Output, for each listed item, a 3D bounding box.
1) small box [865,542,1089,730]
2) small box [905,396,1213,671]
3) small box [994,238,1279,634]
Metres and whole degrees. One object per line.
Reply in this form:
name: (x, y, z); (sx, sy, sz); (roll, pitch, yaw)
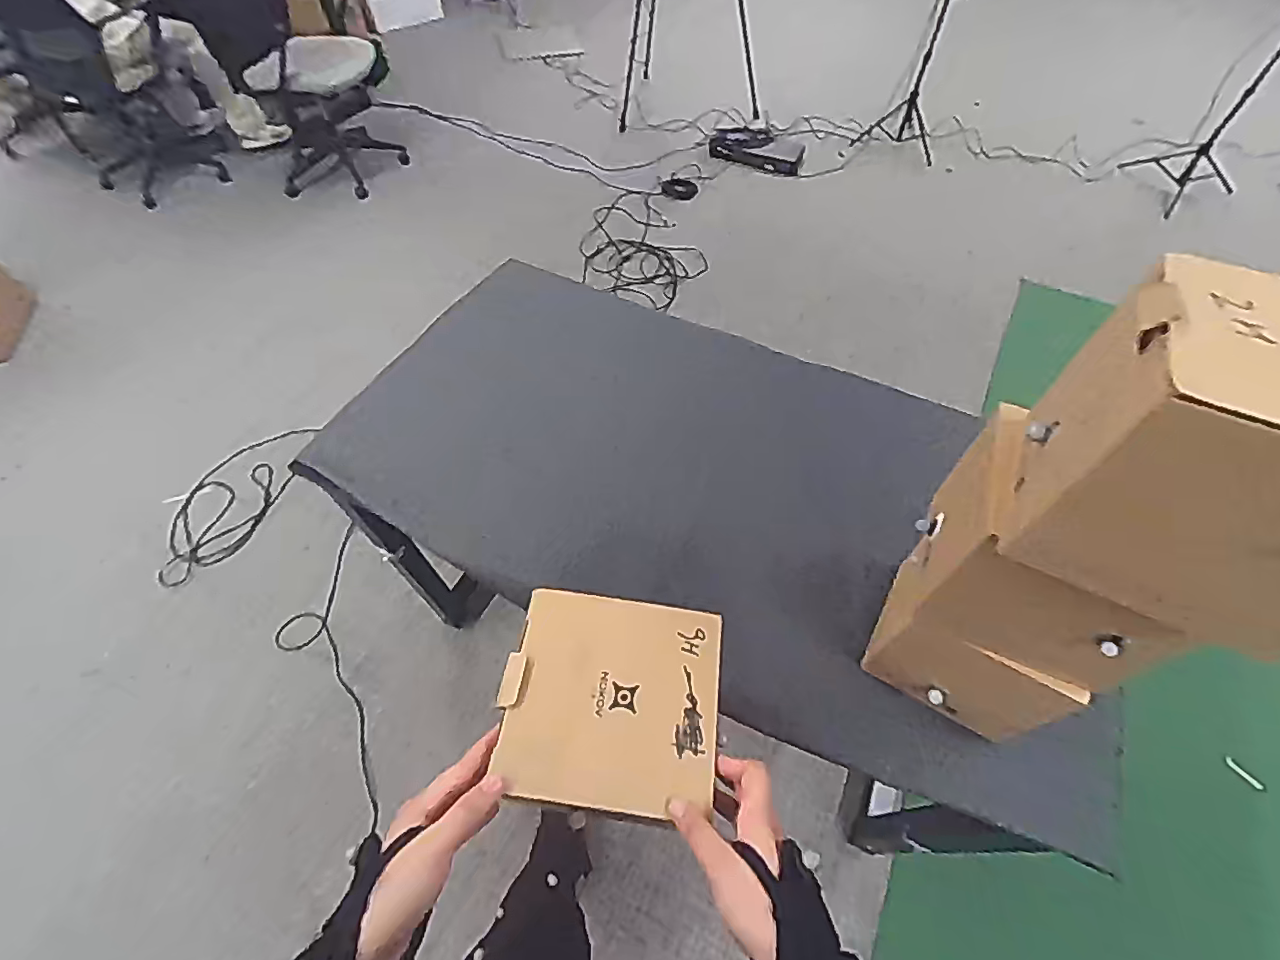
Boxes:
small box: (0.388, 0.156, 0.631); (0.168, 0.176, 0.179); (27, 59, 19)
small box: (0.378, 0.055, 0.504); (0.179, 0.176, 0.168); (20, 55, 16)
small box: (0.379, -0.023, 0.357); (0.179, 0.176, 0.168); (25, 56, 18)
